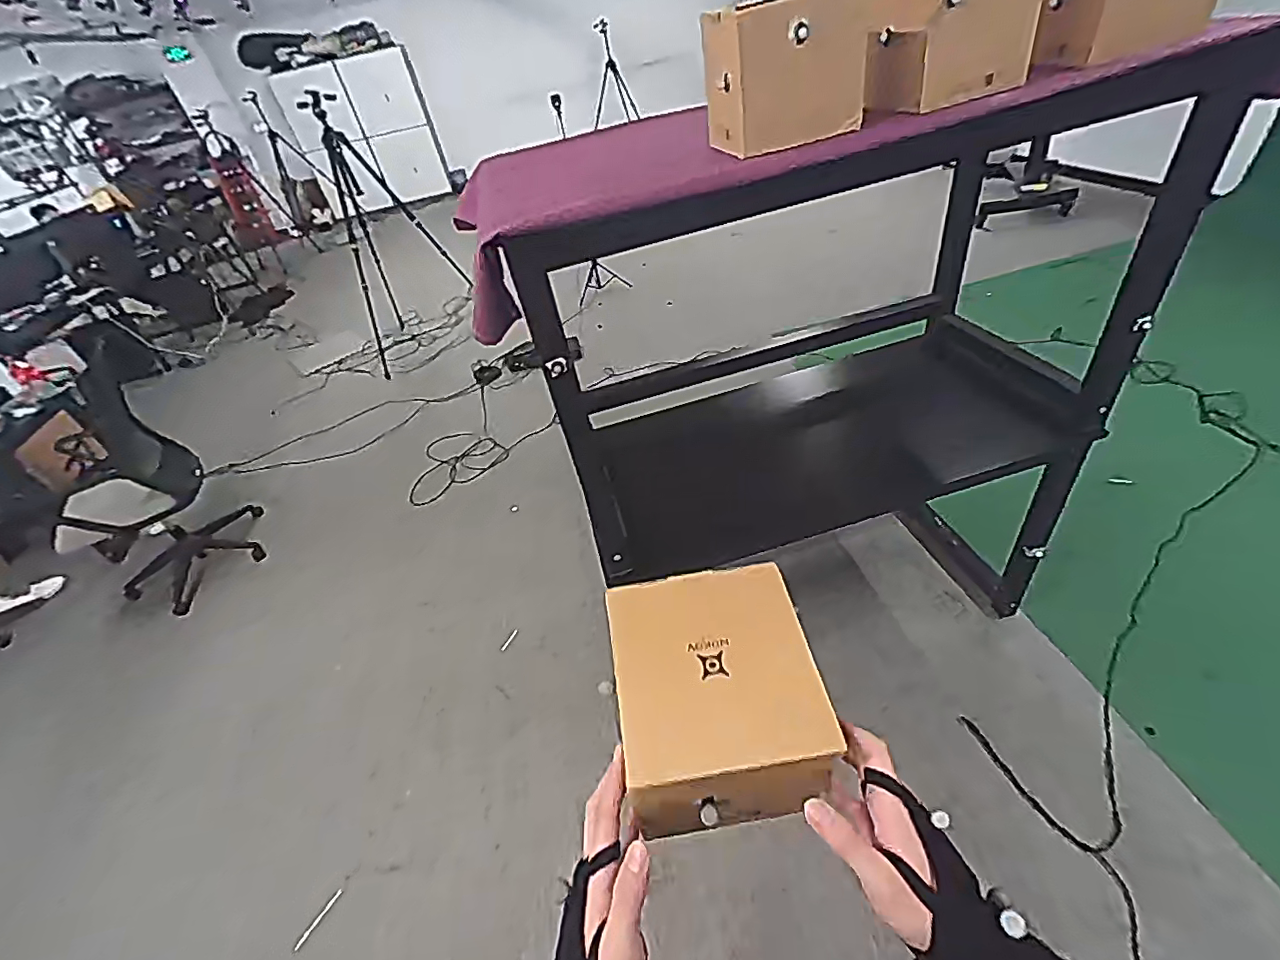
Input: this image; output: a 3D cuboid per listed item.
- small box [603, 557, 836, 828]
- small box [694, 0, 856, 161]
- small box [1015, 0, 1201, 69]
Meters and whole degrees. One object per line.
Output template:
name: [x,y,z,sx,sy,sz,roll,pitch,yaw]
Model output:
small box: [0.064,0.202,0.505,0.168,0.176,0.179,-10,43,-2]
small box: [0.188,-0.569,0.762,0.179,0.176,0.168,-14,39,-1]
small box: [0.690,-0.726,0.791,0.179,0.176,0.168,-15,41,1]
